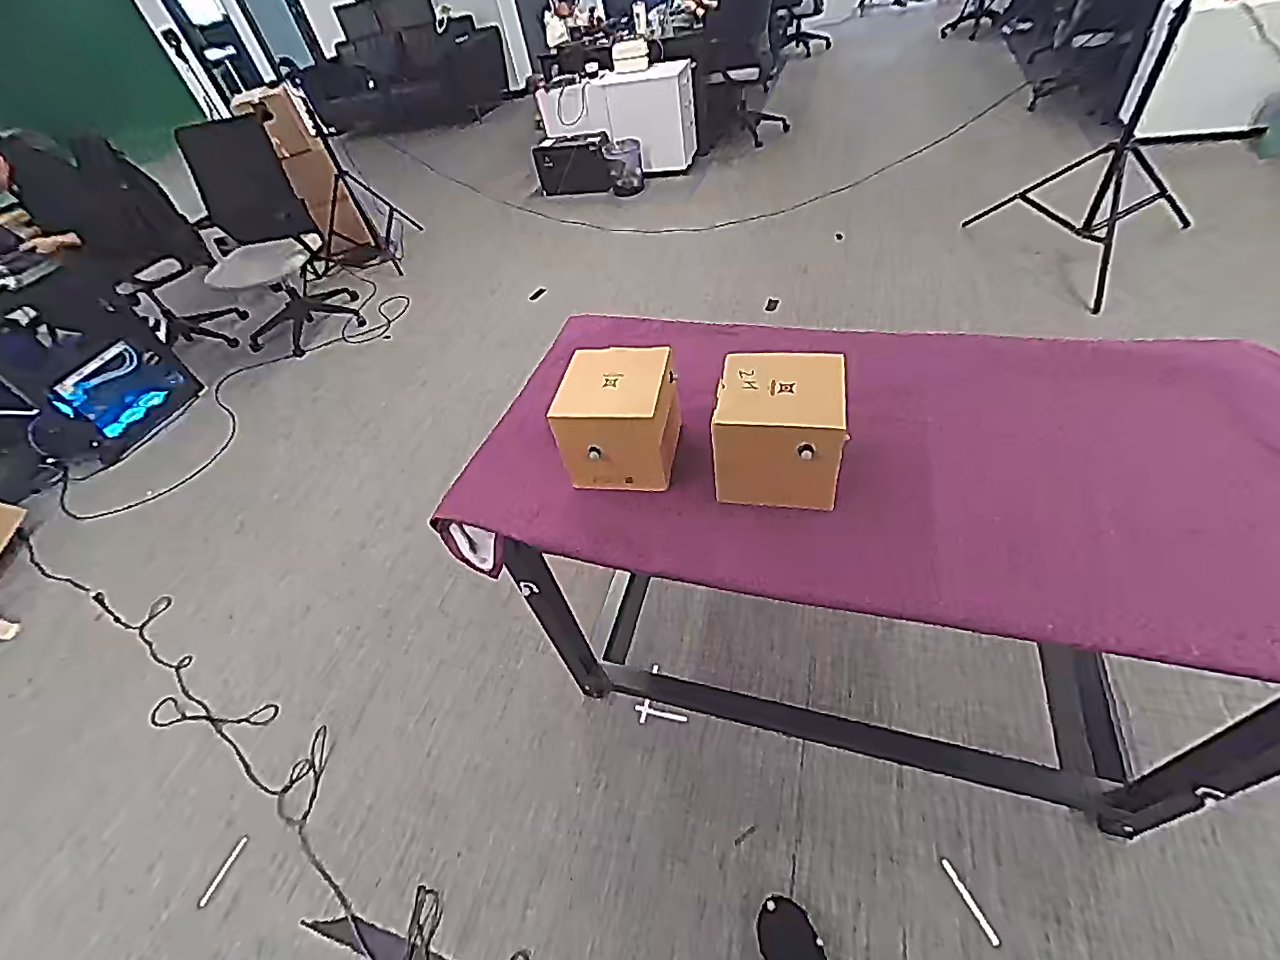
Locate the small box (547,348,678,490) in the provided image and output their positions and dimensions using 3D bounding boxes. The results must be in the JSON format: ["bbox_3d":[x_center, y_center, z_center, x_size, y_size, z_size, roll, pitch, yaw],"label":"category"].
[{"bbox_3d":[-0.034,-0.098,0.903,0.168,0.176,0.179,1,47,14],"label":"small box"}]

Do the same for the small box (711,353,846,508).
[{"bbox_3d":[0.209,-0.074,0.823,0.179,0.176,0.168,4,47,15],"label":"small box"}]
